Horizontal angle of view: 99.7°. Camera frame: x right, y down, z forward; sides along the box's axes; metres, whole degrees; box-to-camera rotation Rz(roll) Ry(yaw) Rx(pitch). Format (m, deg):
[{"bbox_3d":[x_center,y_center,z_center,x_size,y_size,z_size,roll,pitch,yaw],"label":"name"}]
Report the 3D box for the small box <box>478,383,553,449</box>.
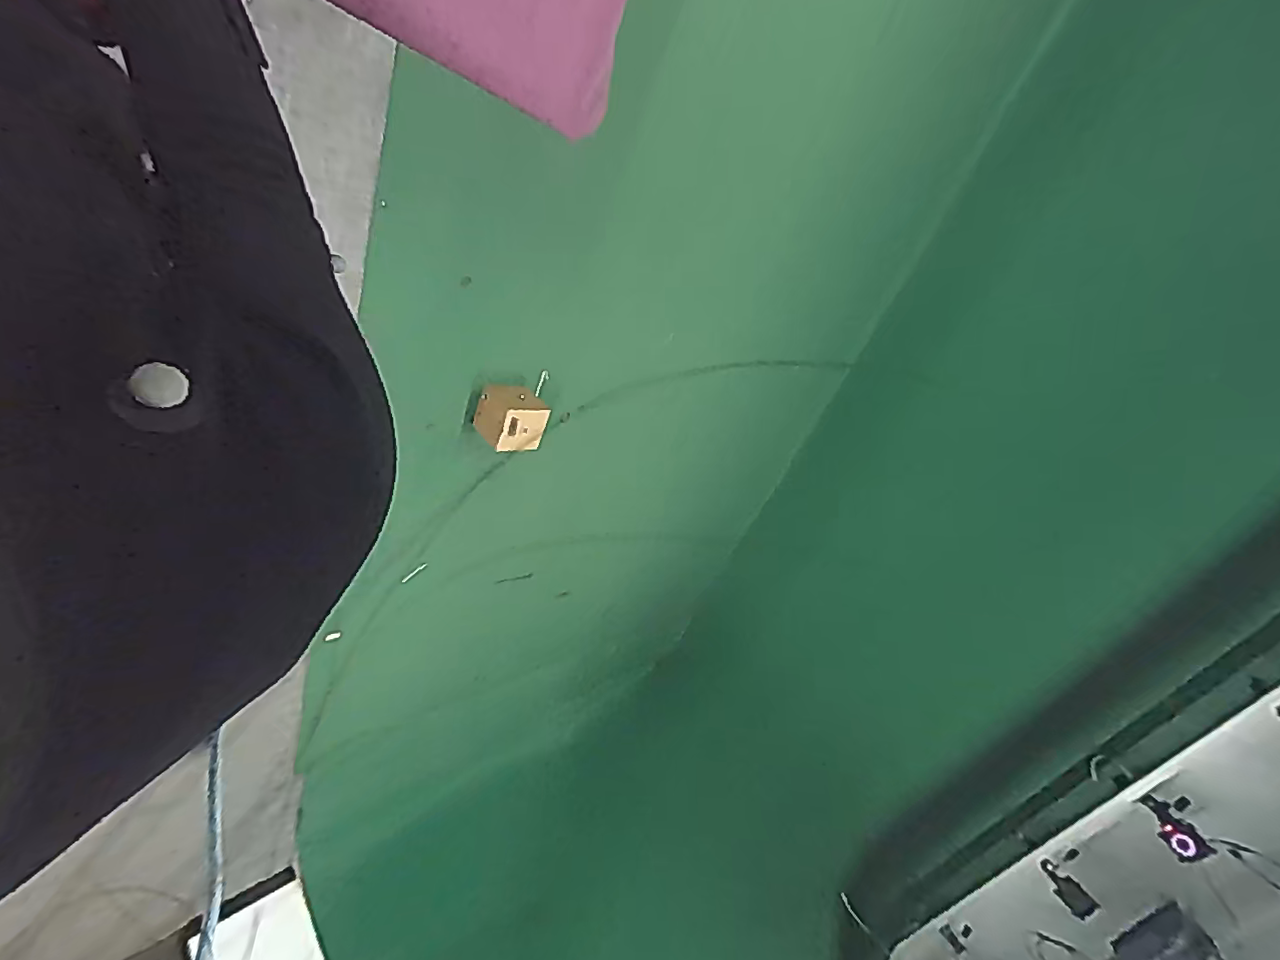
[{"bbox_3d":[-0.439,-0.225,1.881,0.179,0.176,0.168,-8,132,-47],"label":"small box"}]
